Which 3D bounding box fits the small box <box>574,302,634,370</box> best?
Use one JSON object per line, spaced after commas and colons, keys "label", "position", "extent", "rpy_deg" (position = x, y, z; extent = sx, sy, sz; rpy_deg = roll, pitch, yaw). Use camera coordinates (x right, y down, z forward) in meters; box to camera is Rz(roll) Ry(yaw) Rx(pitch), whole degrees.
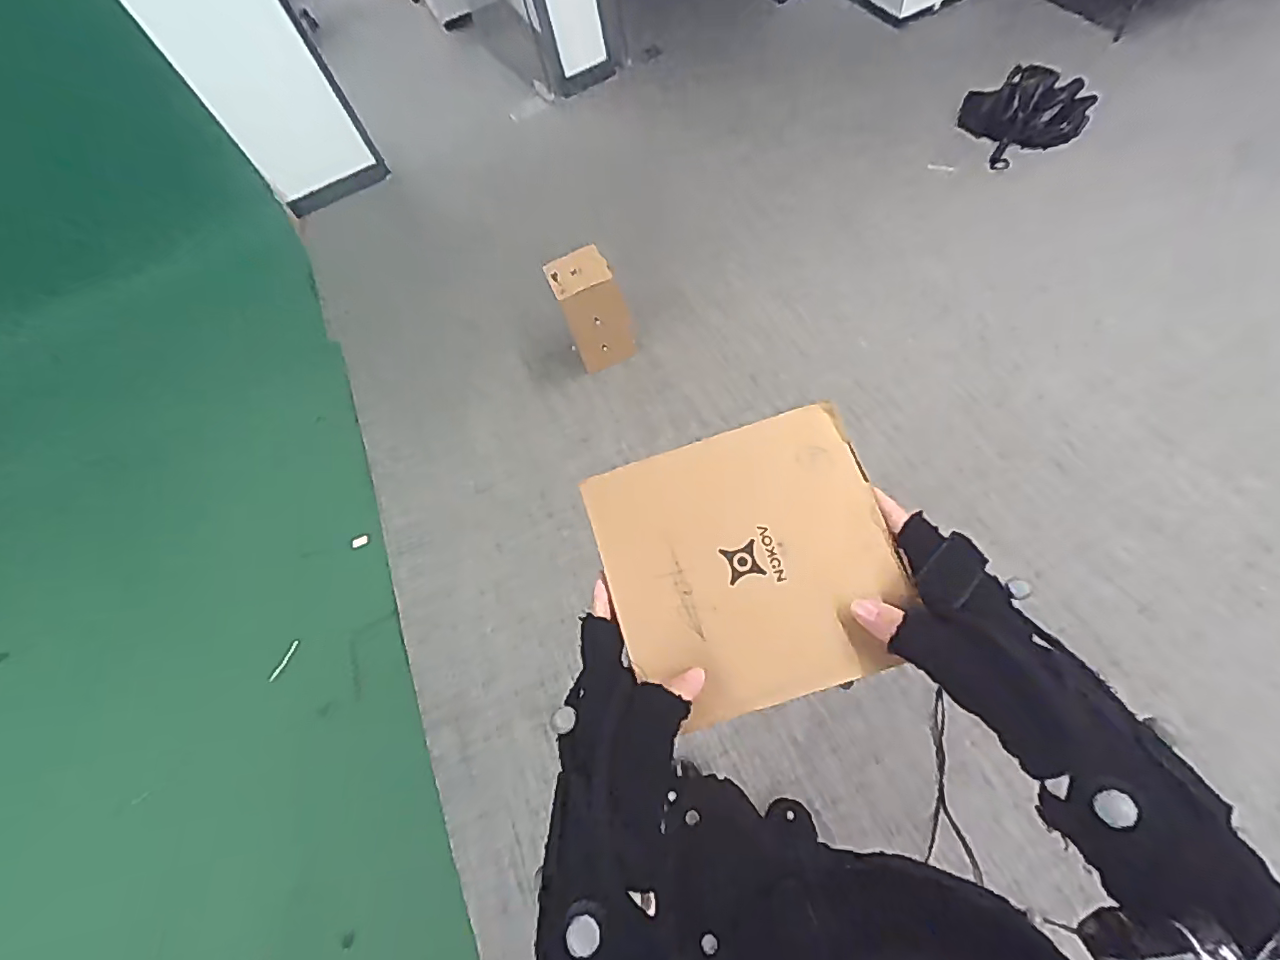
{"label": "small box", "position": [-0.128, -0.497, 1.781], "extent": [0.179, 0.176, 0.168], "rpy_deg": [-26, 62, -4]}

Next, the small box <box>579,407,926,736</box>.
{"label": "small box", "position": [0.072, 0.071, 0.415], "extent": [0.179, 0.176, 0.168], "rpy_deg": [-19, 73, 2]}

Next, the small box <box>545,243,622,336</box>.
{"label": "small box", "position": [-0.164, -0.574, 1.640], "extent": [0.179, 0.176, 0.168], "rpy_deg": [-23, 62, -1]}
